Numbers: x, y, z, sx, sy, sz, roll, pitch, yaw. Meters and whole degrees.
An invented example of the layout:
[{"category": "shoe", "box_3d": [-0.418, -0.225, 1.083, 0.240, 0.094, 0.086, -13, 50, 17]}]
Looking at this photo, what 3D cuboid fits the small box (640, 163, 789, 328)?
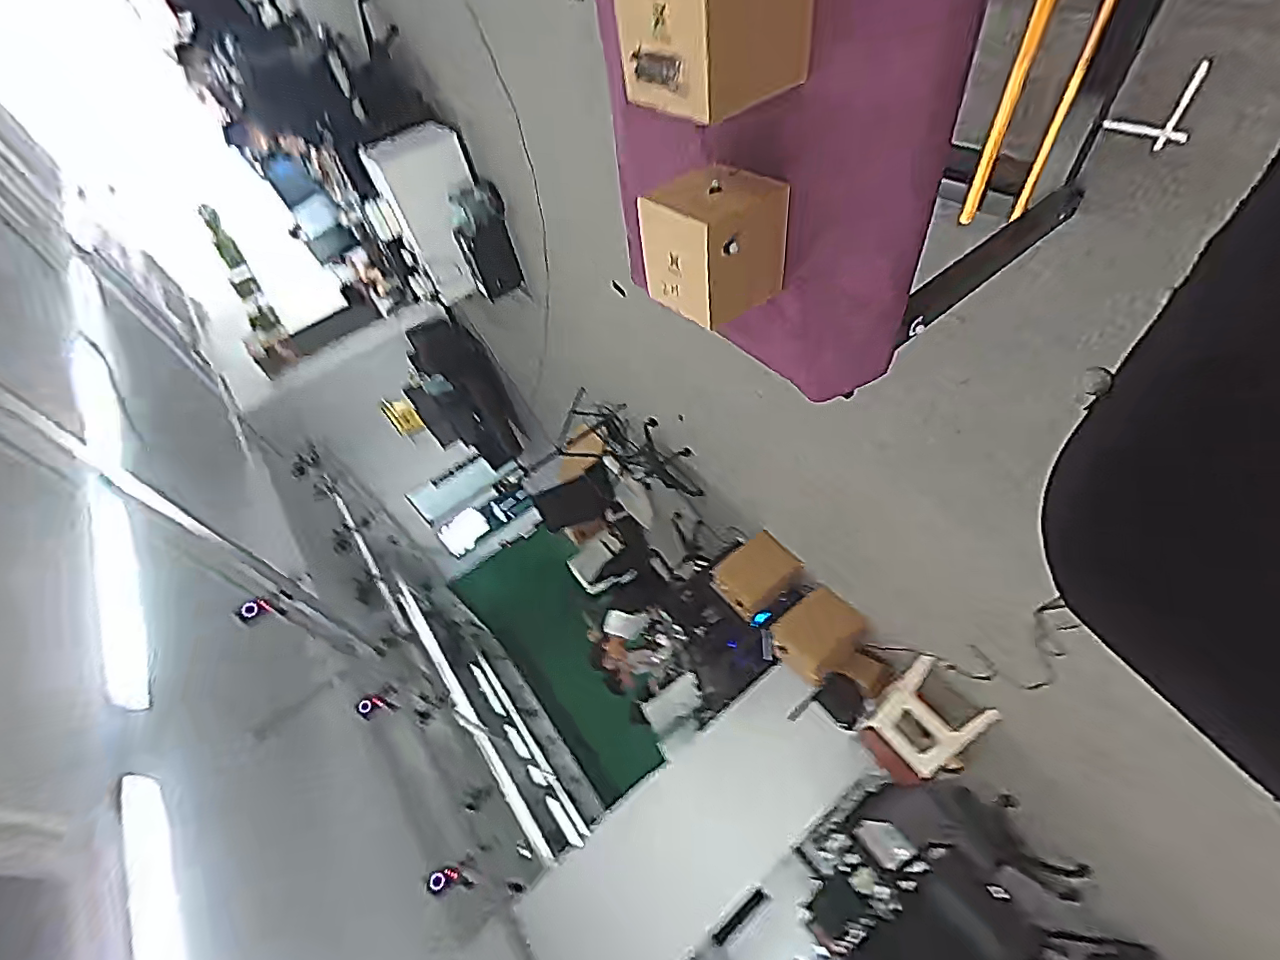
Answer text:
[{"category": "small box", "box_3d": [0.124, -0.388, 0.883, 0.168, 0.176, 0.179, 43, 158, 36]}]
